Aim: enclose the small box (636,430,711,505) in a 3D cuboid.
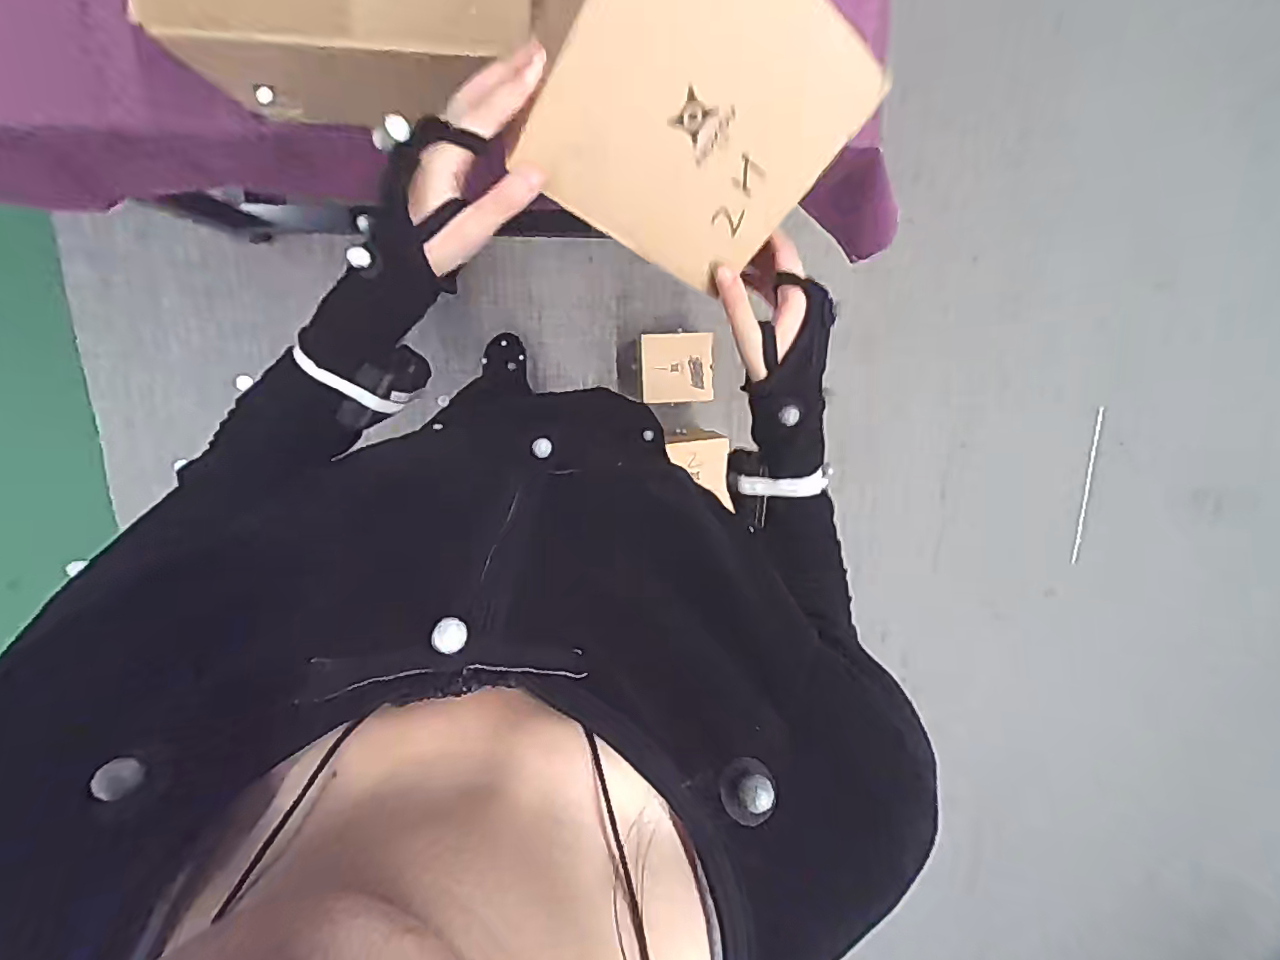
[{"bbox_3d":[0.083,-0.038,1.439,0.179,0.176,0.168,-6,102,-5],"label":"small box"}]
